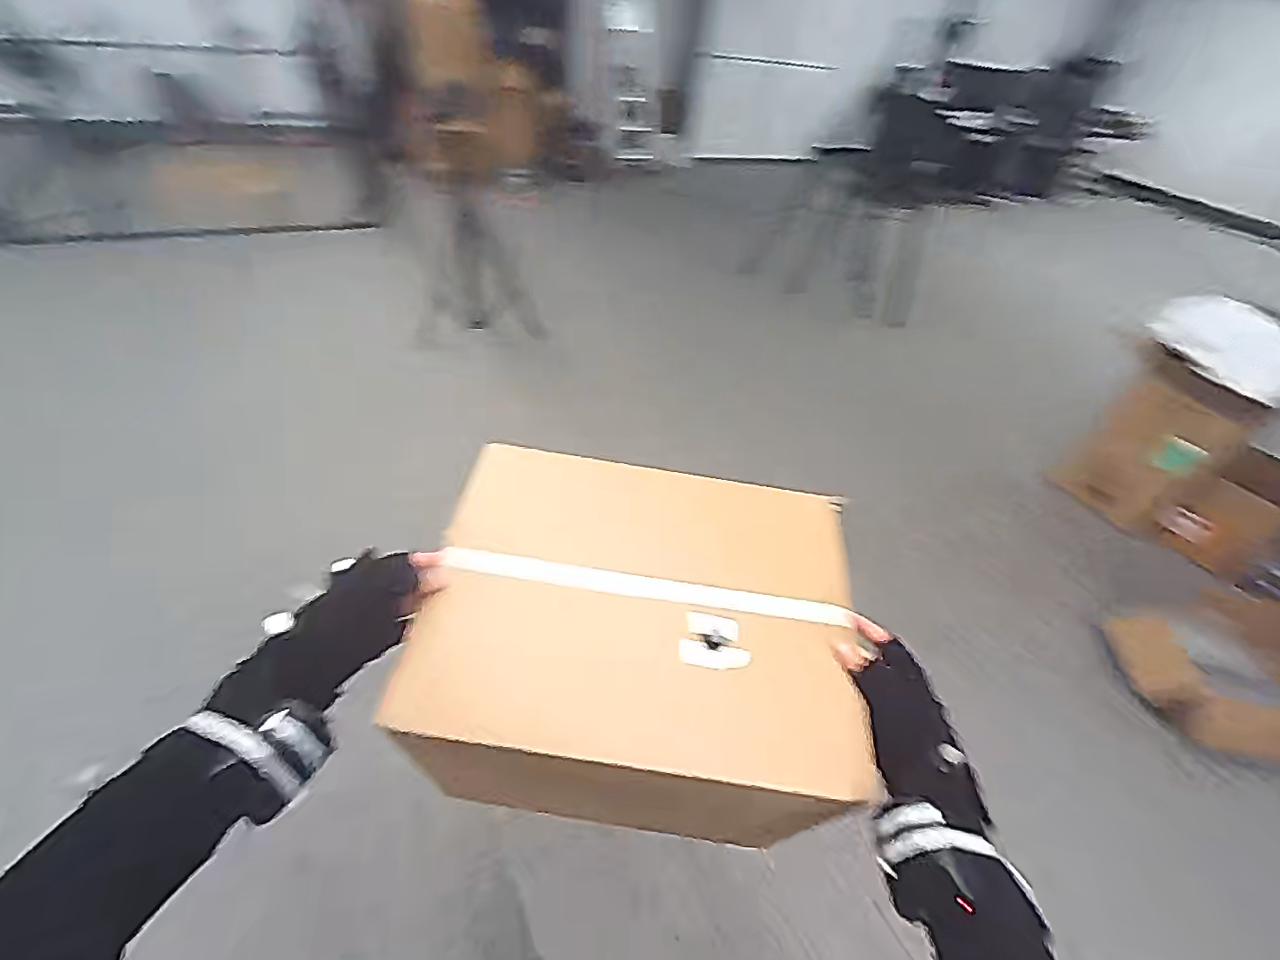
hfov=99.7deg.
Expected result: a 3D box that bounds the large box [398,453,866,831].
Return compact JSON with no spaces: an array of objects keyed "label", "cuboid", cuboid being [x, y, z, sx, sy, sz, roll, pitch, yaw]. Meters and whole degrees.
[{"label":"large box","cuboid":[-0.009,0.204,0.655,0.408,0.320,0.320,9,51,-1]}]
